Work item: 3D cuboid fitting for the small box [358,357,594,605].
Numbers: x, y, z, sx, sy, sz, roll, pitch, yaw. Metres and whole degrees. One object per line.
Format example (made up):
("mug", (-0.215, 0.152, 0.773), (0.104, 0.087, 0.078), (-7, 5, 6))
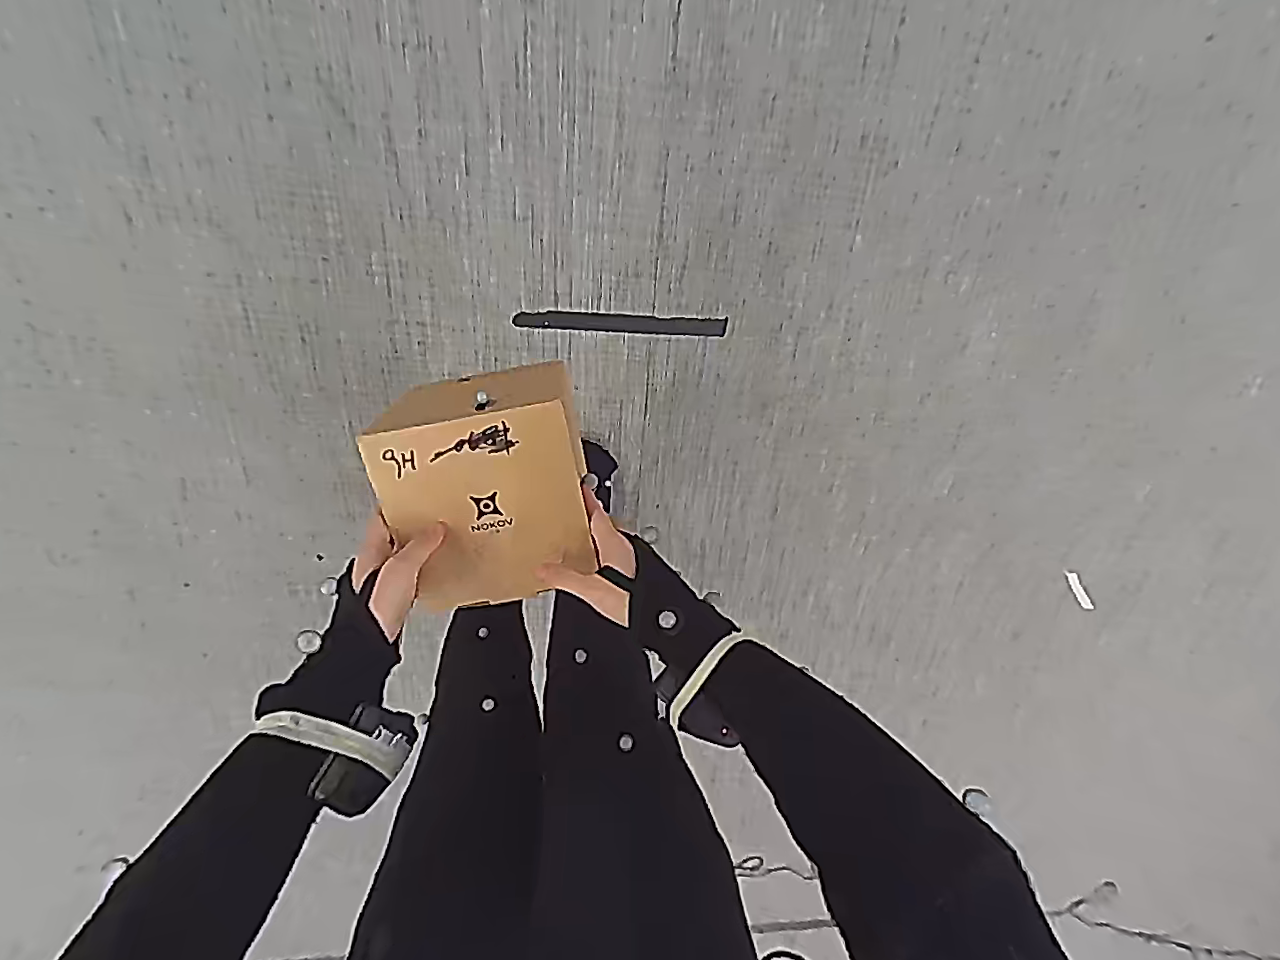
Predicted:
("small box", (-0.141, -0.008, 0.537), (0.168, 0.176, 0.179), (-10, 115, -3))
